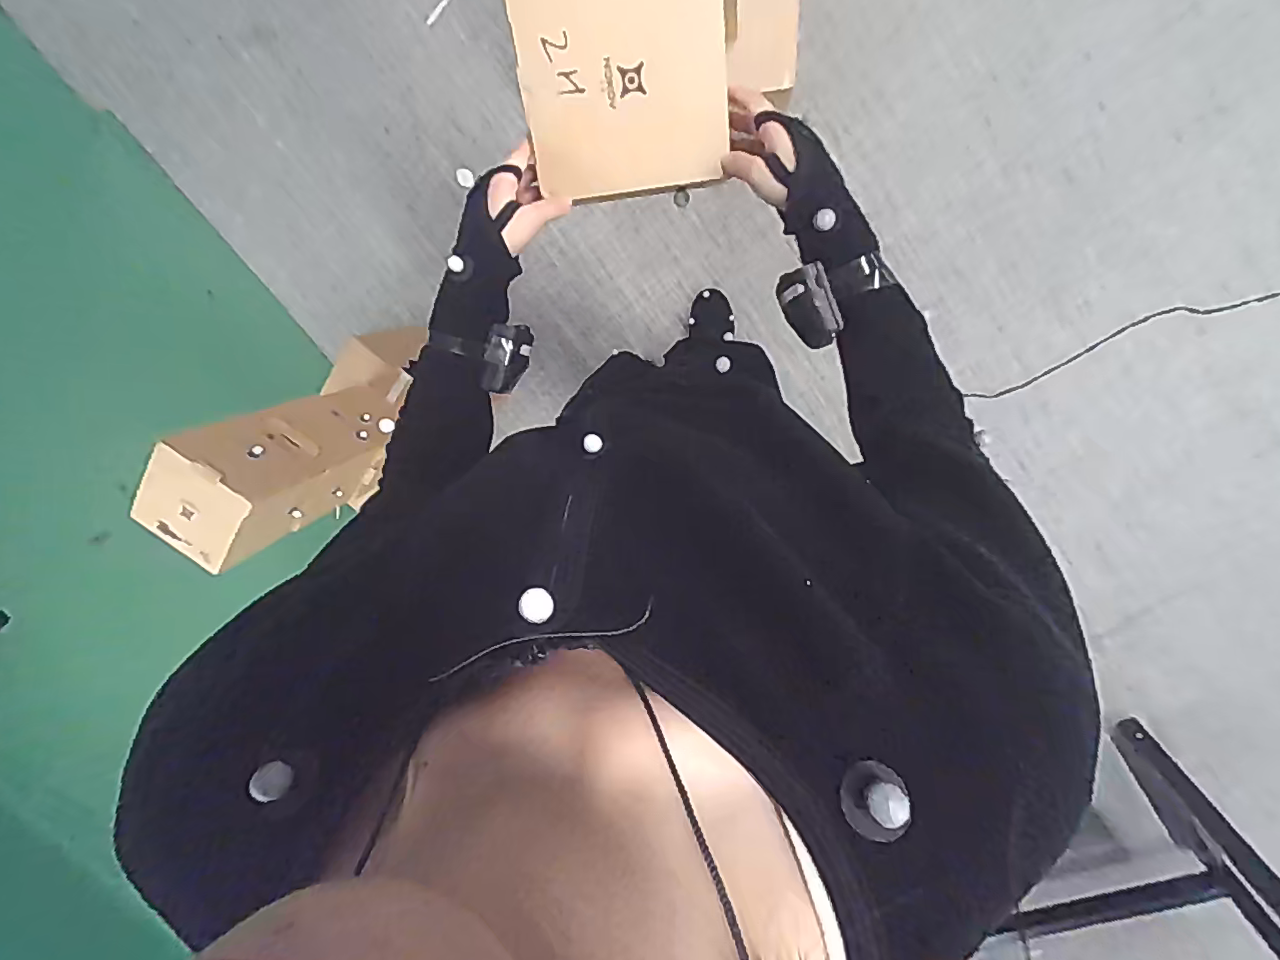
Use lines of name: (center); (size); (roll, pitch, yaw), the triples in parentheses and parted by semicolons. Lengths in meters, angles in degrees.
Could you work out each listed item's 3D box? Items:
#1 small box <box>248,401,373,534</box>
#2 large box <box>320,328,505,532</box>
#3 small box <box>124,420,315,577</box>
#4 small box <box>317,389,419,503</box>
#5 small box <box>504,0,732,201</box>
small box: (-0.666, -0.034, 1.068); (0.168, 0.176, 0.179); (38, 112, -5)
large box: (-0.636, -0.146, 1.462); (0.320, 0.320, 0.408); (39, 113, -4)
small box: (-0.696, 0.022, 0.916); (0.168, 0.176, 0.179); (39, 110, -5)
small box: (-0.640, -0.085, 1.222); (0.179, 0.176, 0.168); (40, 111, -6)
small box: (-0.010, -0.370, 0.518); (0.179, 0.176, 0.168); (-5, 115, 8)
